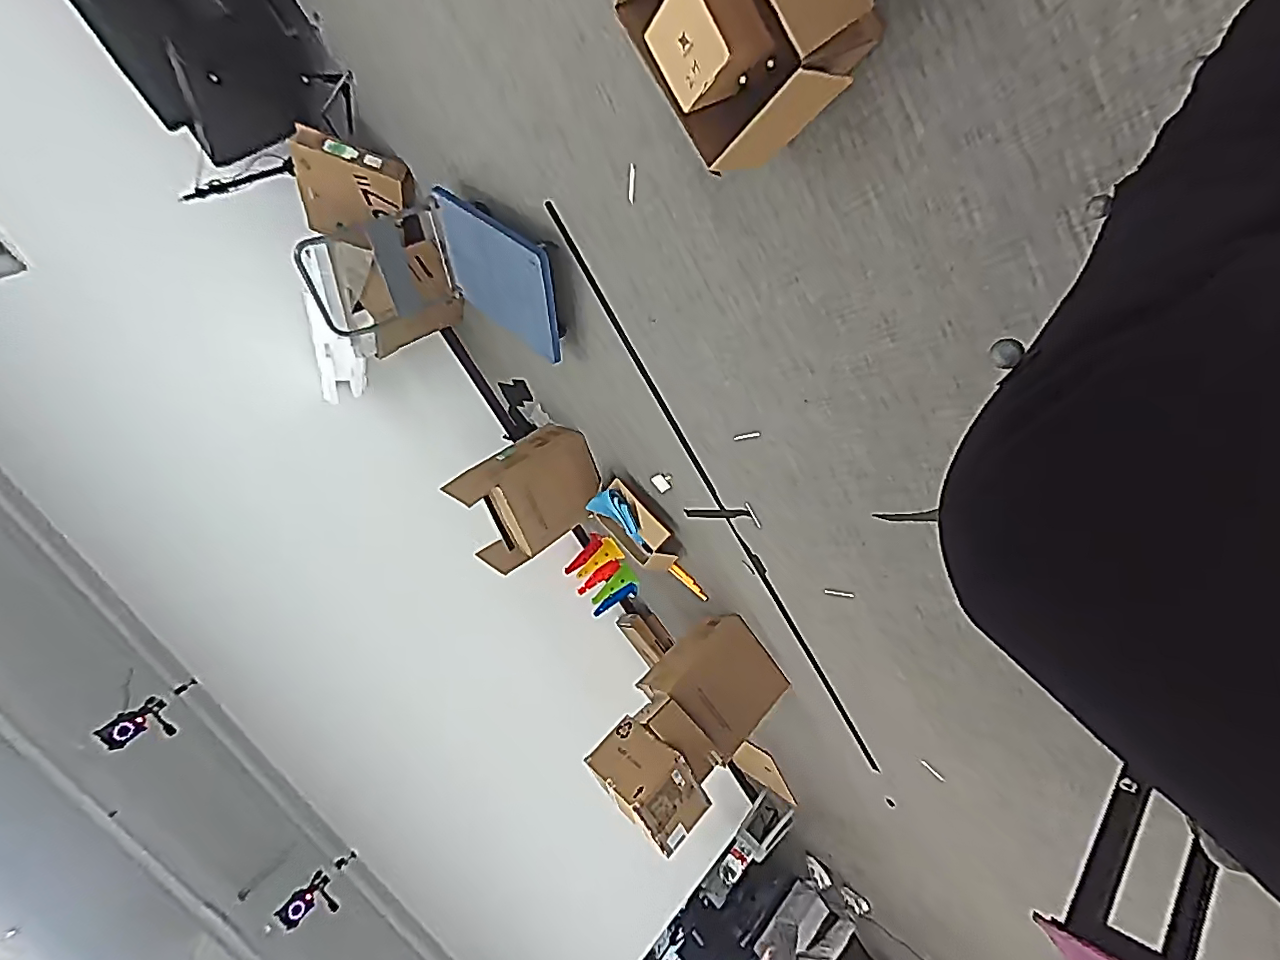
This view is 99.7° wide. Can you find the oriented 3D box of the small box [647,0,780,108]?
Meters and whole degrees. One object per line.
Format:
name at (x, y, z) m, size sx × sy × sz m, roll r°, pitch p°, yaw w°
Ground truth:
small box at (0.152, -0.922, 1.114) m, size 0.179 × 0.176 × 0.168 m, roll 58°, pitch 154°, yaw -12°
